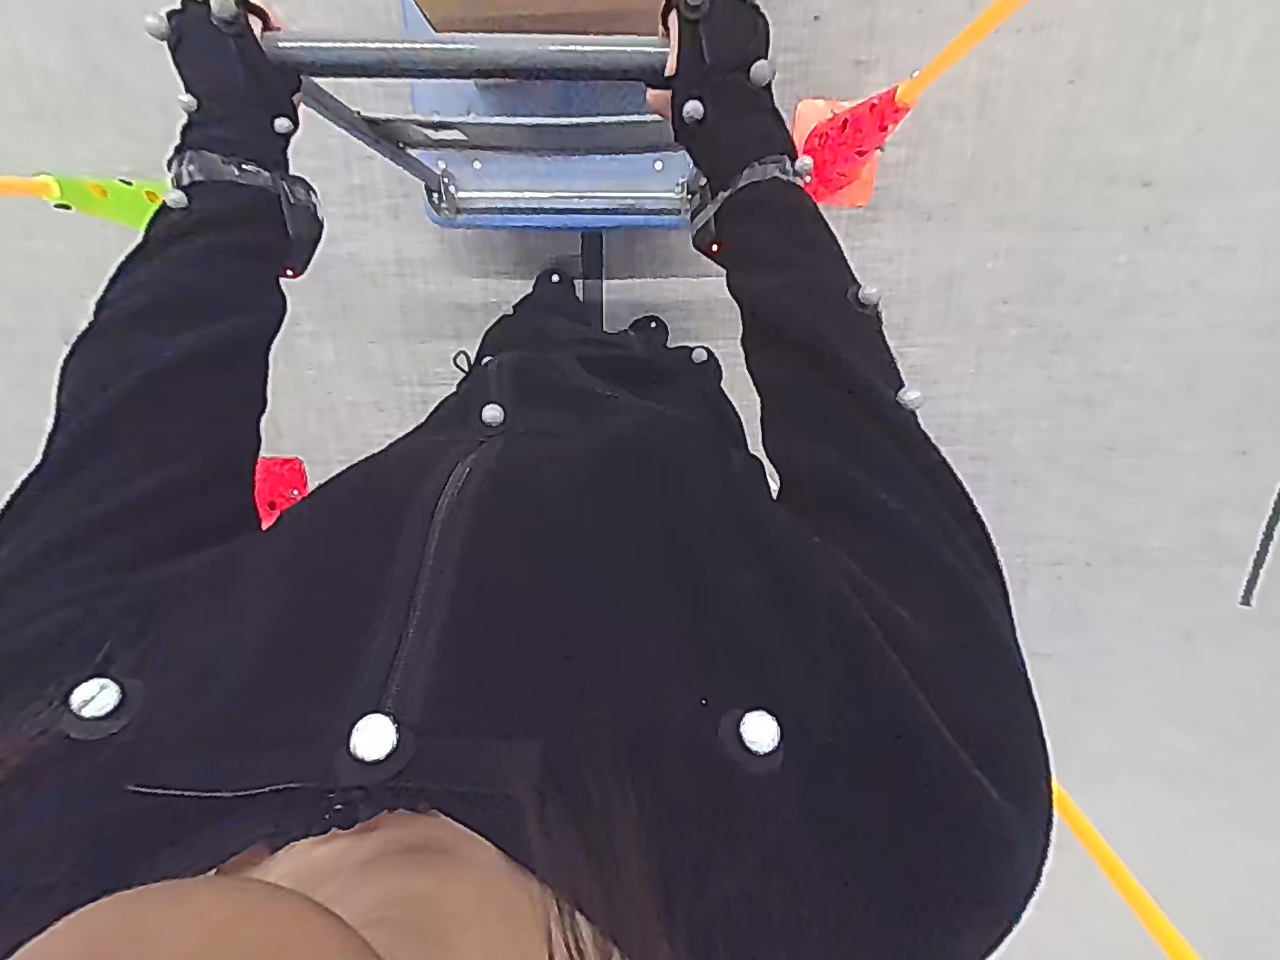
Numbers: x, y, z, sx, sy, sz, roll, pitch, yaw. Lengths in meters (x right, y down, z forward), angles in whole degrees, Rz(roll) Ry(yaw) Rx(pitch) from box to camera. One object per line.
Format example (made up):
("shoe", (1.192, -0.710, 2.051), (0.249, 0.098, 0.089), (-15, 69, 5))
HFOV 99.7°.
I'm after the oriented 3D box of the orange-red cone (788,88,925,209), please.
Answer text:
("orange-red cone", (0.442, -0.667, 1.037), (0.199, 0.360, 0.198), (6, 108, -3))
